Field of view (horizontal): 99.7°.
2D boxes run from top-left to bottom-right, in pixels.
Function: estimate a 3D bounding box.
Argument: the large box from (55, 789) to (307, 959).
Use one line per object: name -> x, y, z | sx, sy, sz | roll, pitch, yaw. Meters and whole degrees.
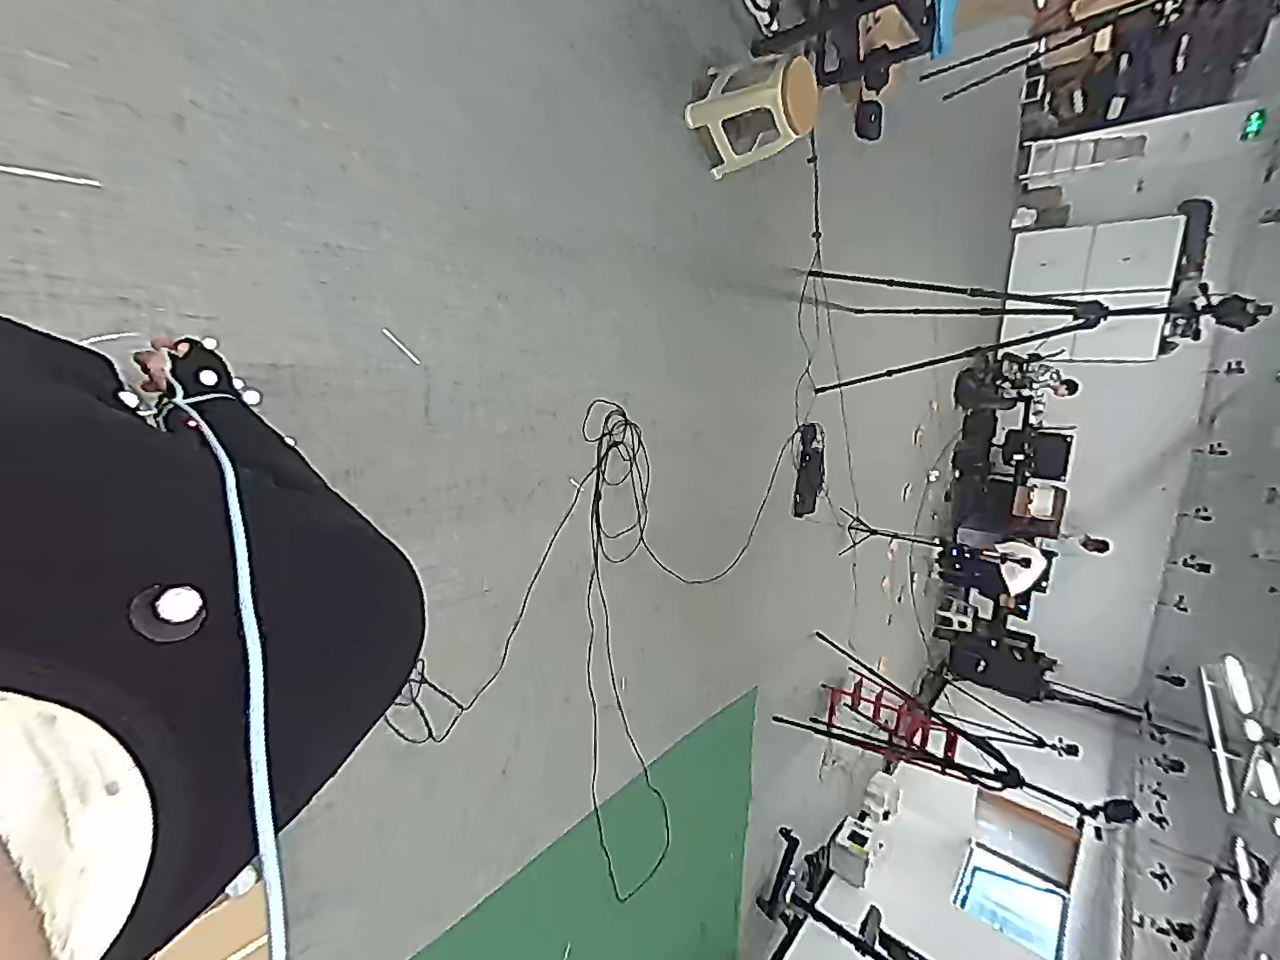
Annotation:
large box -> -1.110, 1.076, 1.331 | 0.408, 0.320, 0.320 | -15, 109, -45
